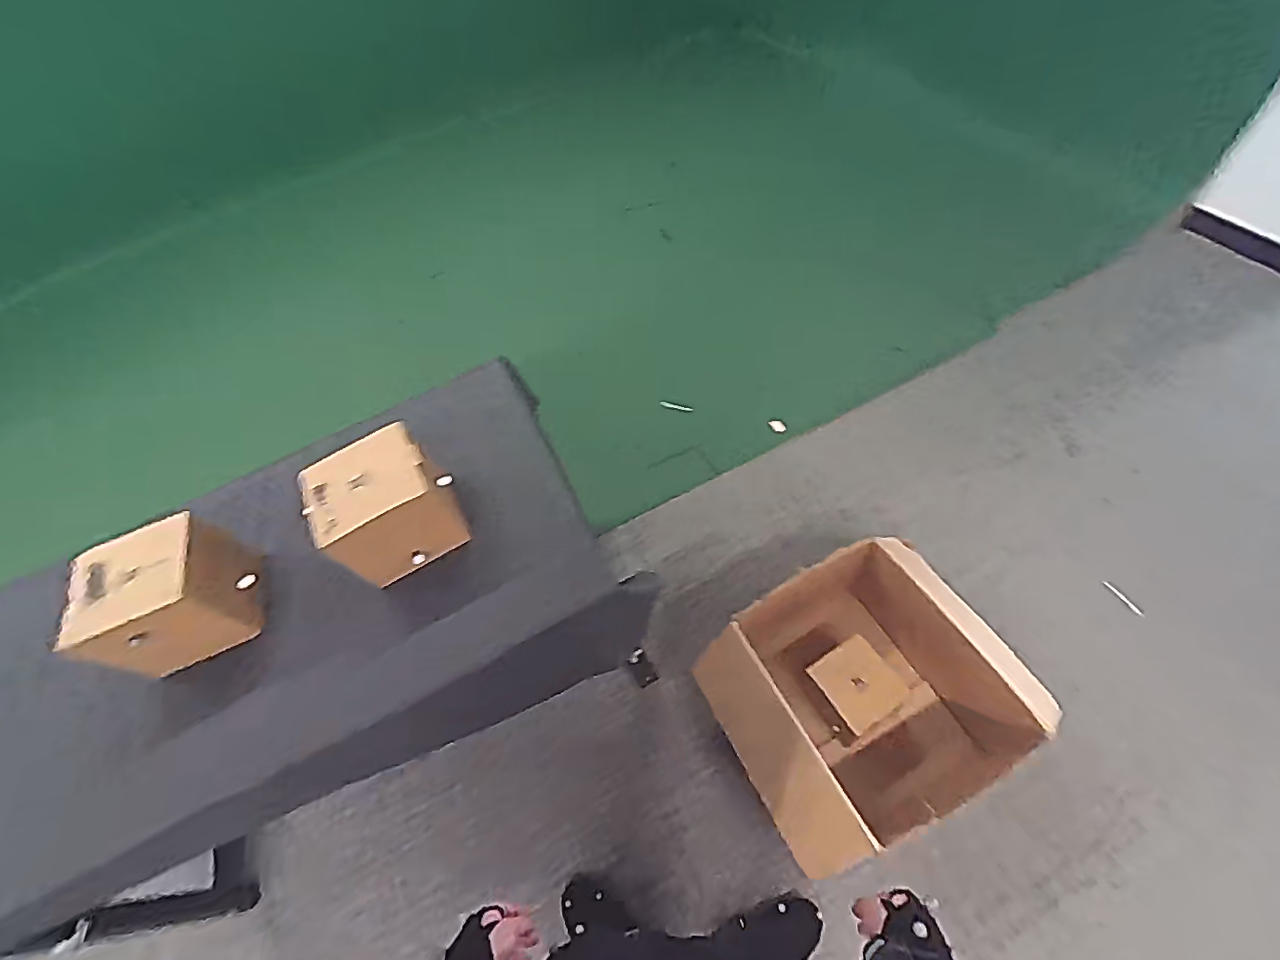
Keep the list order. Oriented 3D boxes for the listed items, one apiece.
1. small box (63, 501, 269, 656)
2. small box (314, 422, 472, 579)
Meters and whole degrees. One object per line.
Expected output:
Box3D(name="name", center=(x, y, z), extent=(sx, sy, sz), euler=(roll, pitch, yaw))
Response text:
Box3D(name="small box", center=(-0.750, 0.166, 0.878), extent=(0.179, 0.176, 0.168), euler=(-21, 59, -4))
Box3D(name="small box", center=(-0.410, 0.040, 0.926), extent=(0.179, 0.176, 0.168), euler=(-31, 60, -10))
